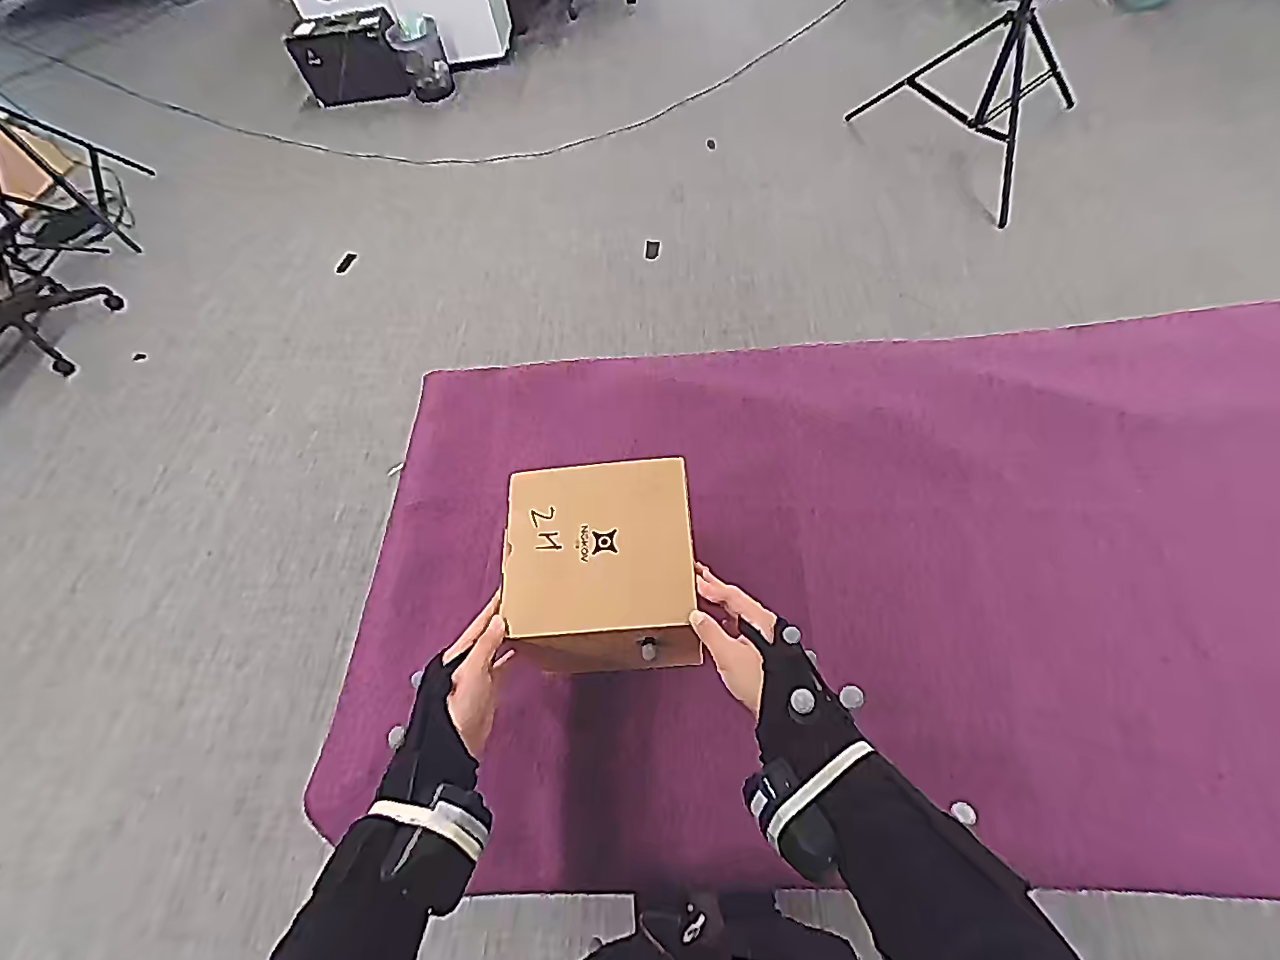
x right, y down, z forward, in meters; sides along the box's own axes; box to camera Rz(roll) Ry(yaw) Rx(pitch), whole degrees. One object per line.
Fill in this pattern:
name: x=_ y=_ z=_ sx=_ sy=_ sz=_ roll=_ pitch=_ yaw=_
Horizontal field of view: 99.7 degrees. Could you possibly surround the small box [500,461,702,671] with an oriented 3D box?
small box: x=-0.028 y=0.098 z=0.567 sx=0.179 sy=0.176 sz=0.168 roll=-5 pitch=60 yaw=5
